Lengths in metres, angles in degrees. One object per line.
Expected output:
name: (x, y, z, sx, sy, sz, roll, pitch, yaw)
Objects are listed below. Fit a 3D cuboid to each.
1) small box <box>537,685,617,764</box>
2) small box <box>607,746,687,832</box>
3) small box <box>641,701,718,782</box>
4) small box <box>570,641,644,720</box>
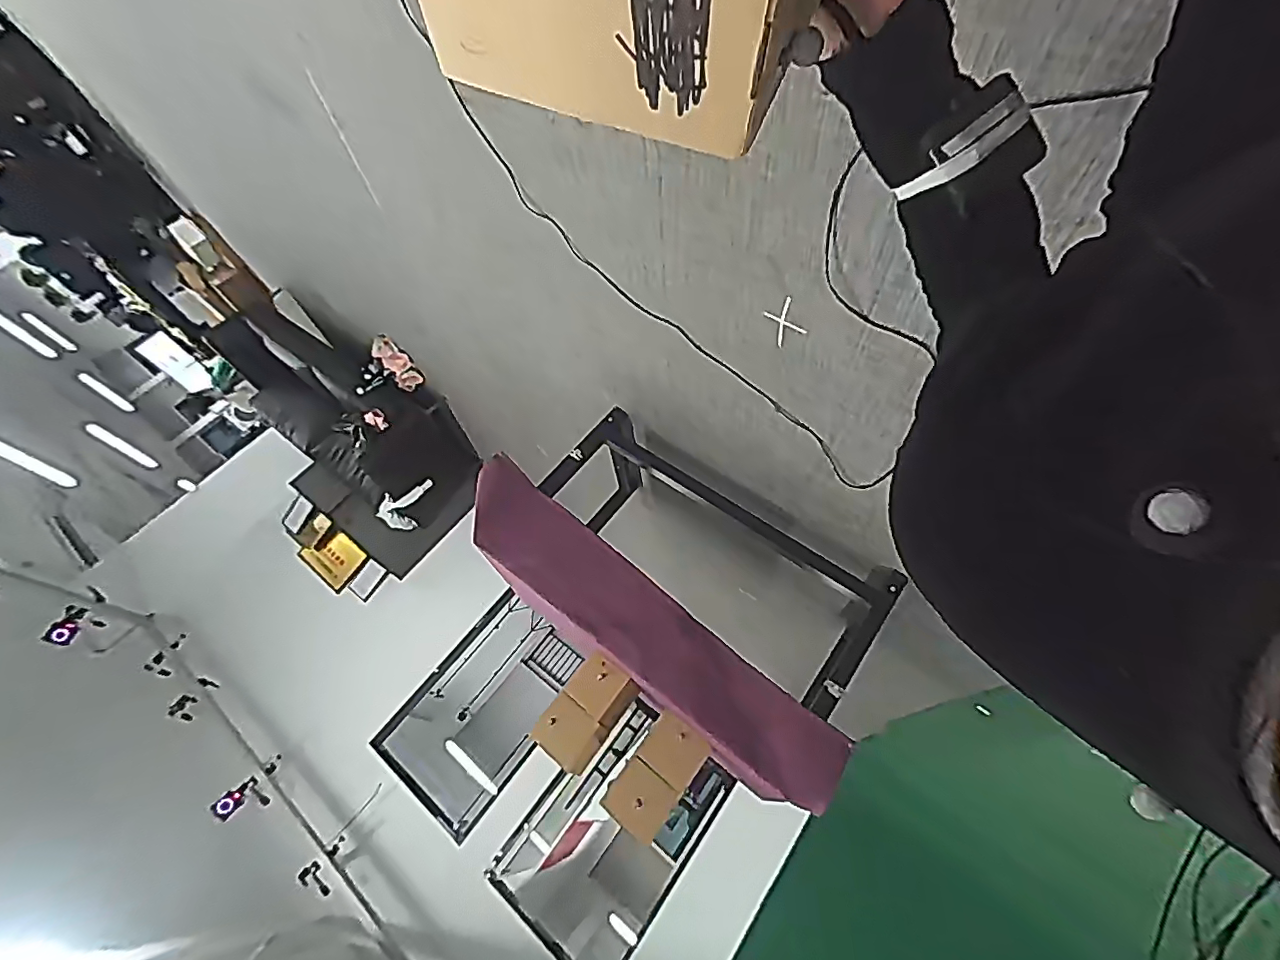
small box: (-0.202, 0.797, 1.782, 0.179, 0.176, 0.168, 30, 158, 27)
small box: (0.027, 0.943, 1.666, 0.179, 0.176, 0.168, 31, 158, 23)
small box: (0.129, 0.826, 1.721, 0.179, 0.176, 0.168, 32, 159, 24)
small box: (-0.104, 0.681, 1.841, 0.168, 0.176, 0.179, 29, 157, 28)
